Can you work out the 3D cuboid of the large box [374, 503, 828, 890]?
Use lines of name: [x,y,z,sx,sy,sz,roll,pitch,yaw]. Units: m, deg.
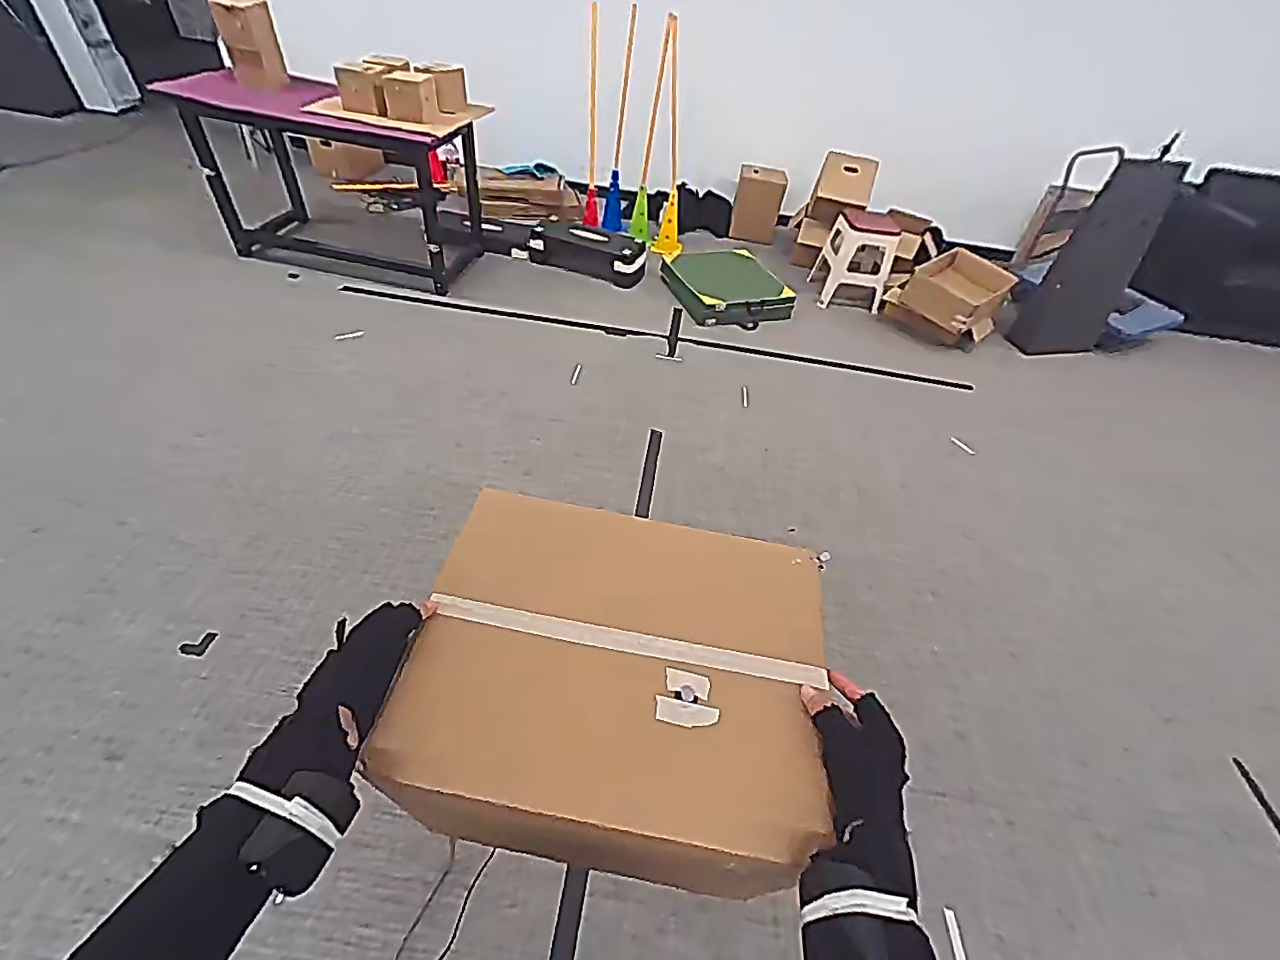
large box: [-0.030,0.269,0.666,0.408,0.320,0.320,11,50,2]
